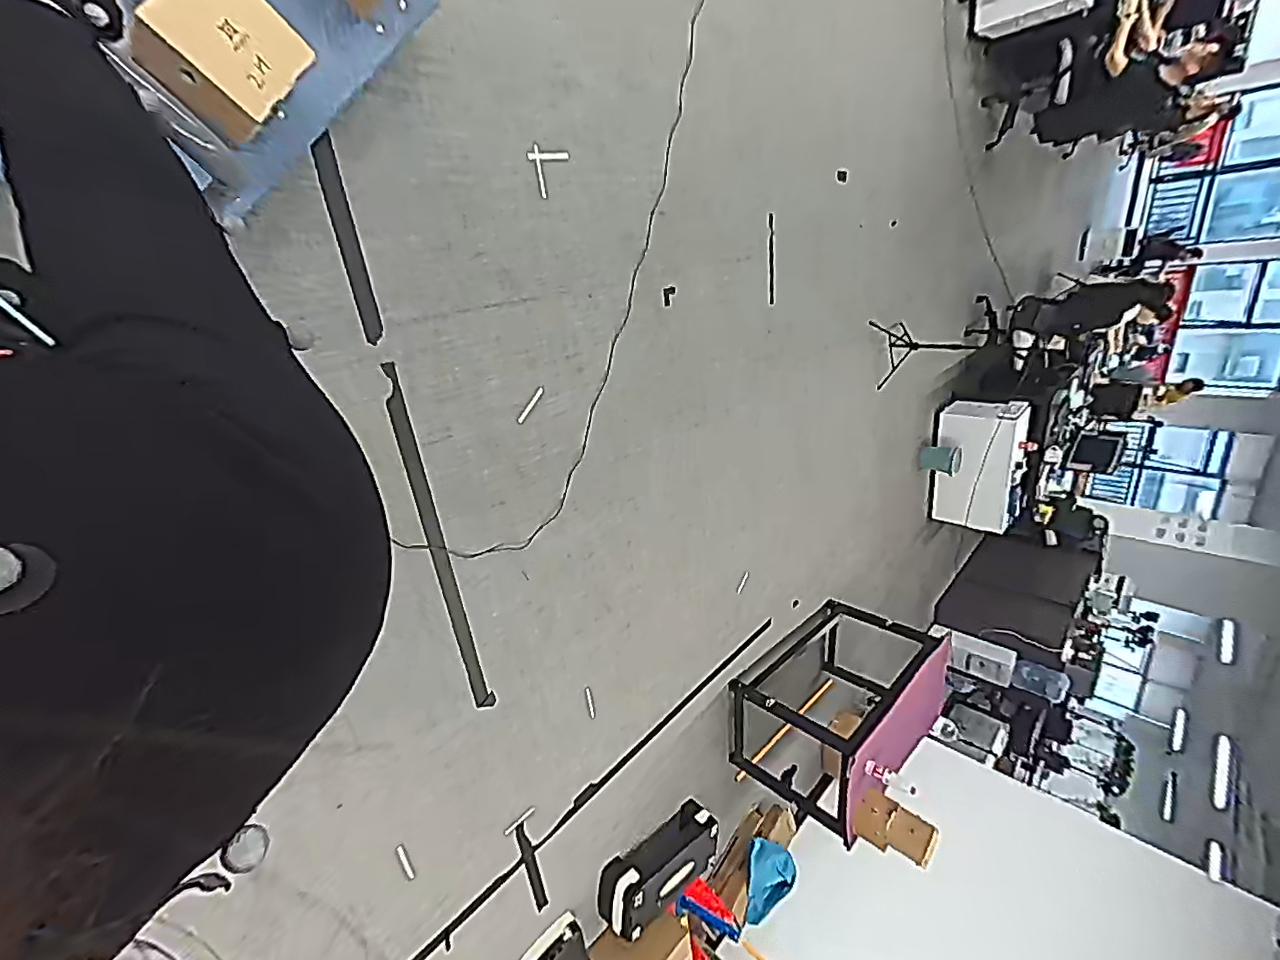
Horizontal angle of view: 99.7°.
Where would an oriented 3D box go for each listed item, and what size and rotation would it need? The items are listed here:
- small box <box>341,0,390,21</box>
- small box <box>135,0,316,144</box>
[{"bbox_3d":[-0.507,-1.017,1.007,0.168,0.176,0.179,45,70,-43],"label":"small box"},{"bbox_3d":[-0.693,-0.707,0.903,0.179,0.176,0.168,41,72,-43],"label":"small box"}]
